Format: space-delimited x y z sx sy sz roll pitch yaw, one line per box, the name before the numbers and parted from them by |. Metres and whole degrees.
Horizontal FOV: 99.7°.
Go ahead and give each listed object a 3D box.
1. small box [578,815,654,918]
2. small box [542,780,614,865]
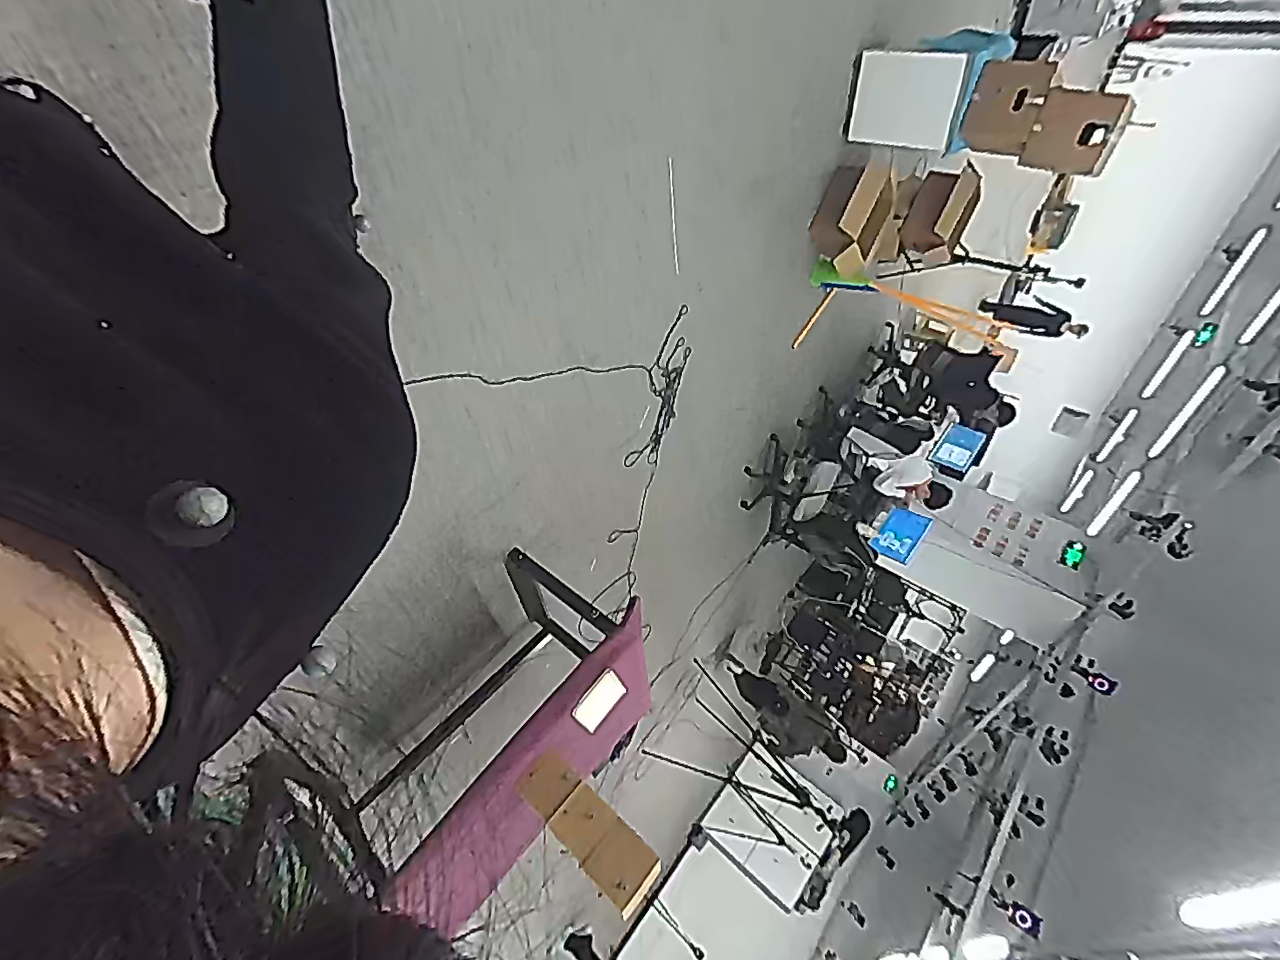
small box | -0.075 1.181 1.657 0.179 0.176 0.168 -40 146 -33
small box | -0.195 1.109 1.746 0.168 0.176 0.179 -41 146 -31
